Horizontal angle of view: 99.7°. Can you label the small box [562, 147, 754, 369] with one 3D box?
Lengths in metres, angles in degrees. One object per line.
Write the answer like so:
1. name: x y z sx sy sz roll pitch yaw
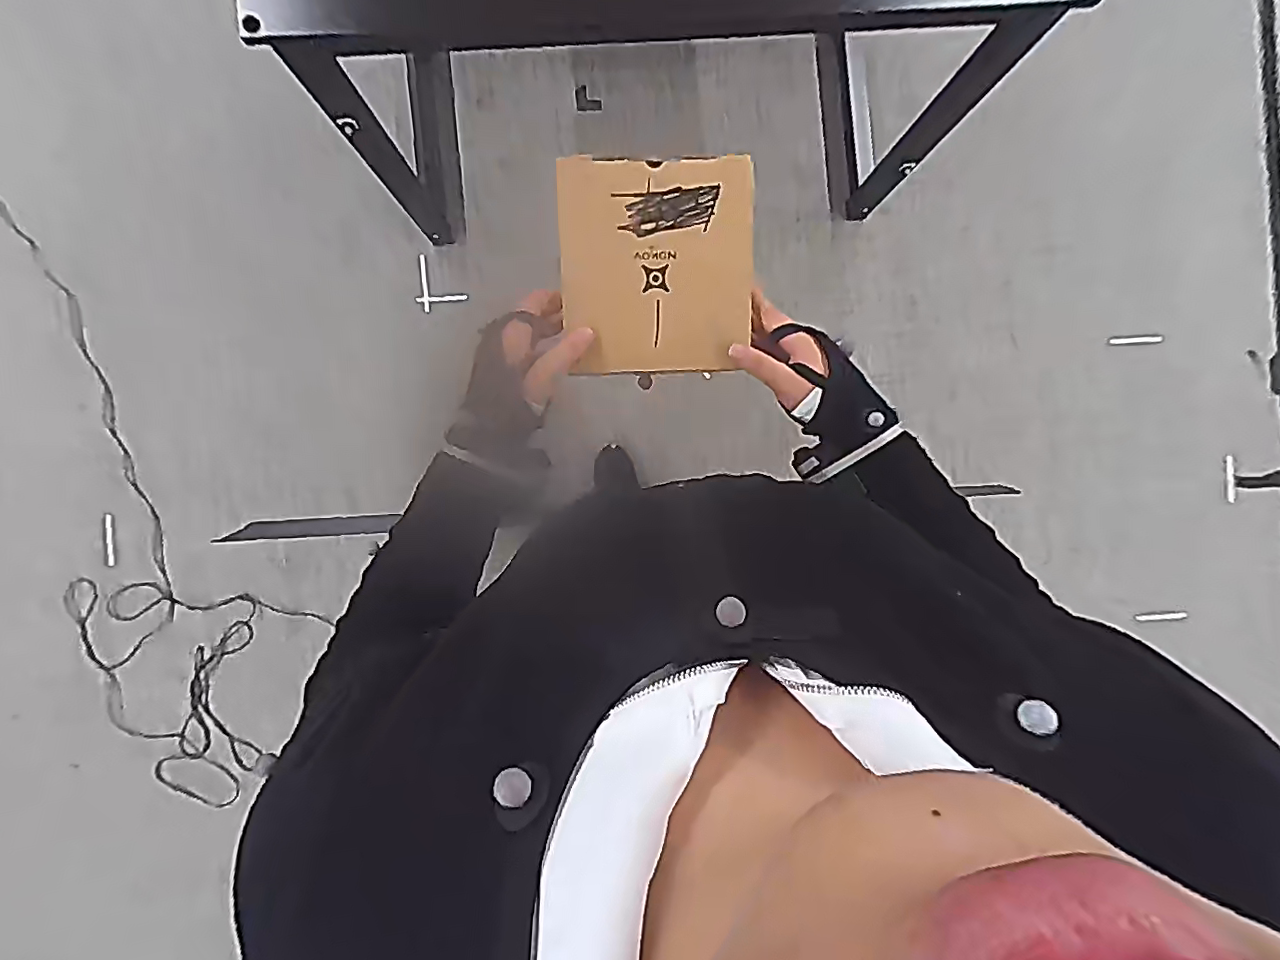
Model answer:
1. small box: 0.012 -0.205 0.543 0.168 0.176 0.179 -2 101 -2
